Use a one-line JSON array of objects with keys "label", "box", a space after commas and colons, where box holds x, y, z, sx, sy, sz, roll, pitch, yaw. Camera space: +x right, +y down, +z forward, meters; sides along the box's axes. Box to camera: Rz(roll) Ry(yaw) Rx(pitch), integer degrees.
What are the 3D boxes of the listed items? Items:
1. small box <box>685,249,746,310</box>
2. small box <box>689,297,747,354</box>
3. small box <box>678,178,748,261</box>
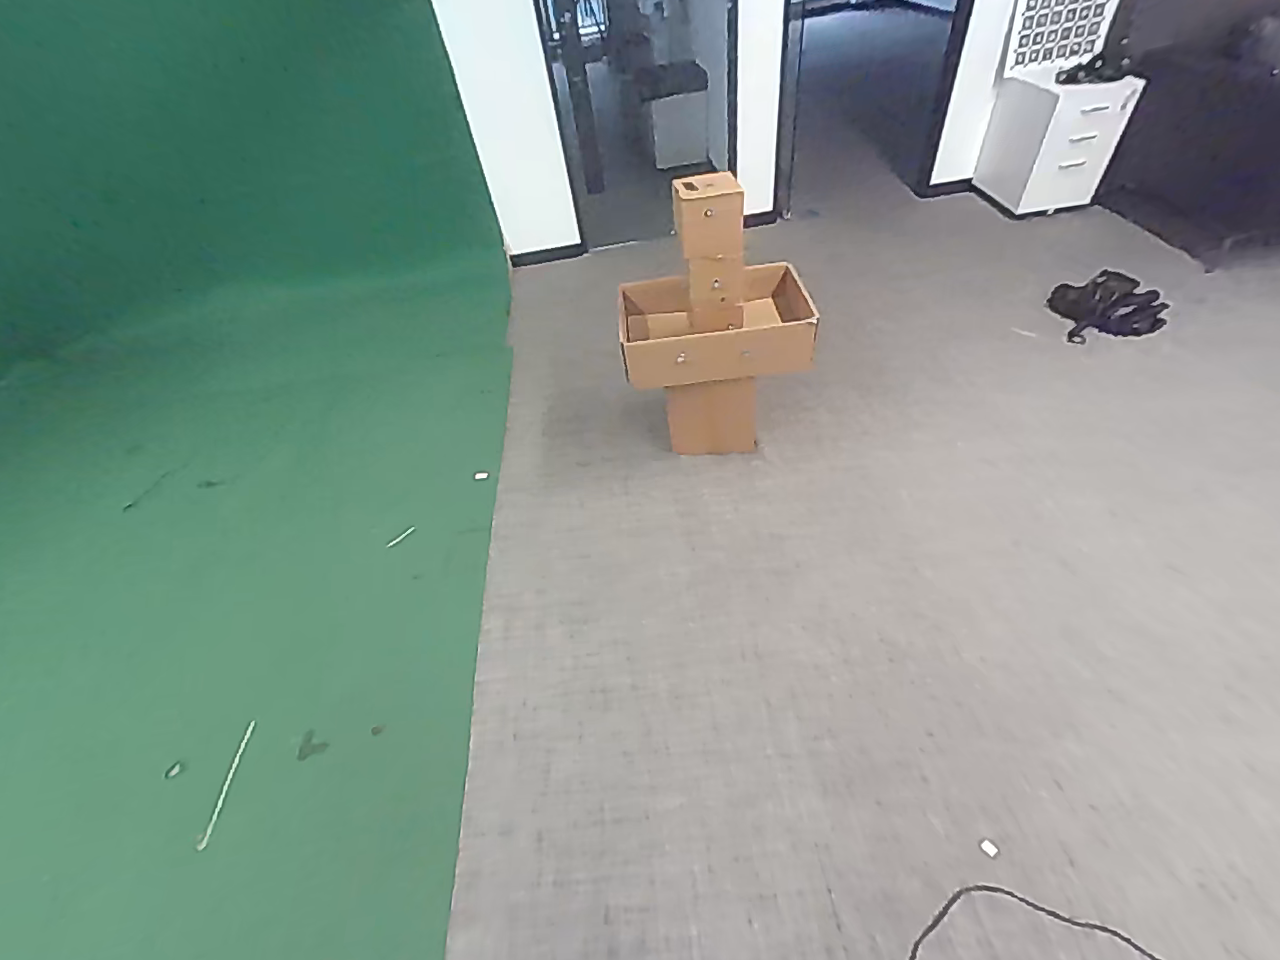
[{"label": "small box", "box": [0.238, -0.653, 1.712, 0.168, 0.176, 0.179, -8, 47, 1]}, {"label": "small box", "box": [0.263, -0.540, 1.828, 0.168, 0.176, 0.179, -8, 44, 1]}, {"label": "small box", "box": [0.213, -0.763, 1.591, 0.179, 0.176, 0.168, -8, 46, -1]}]
